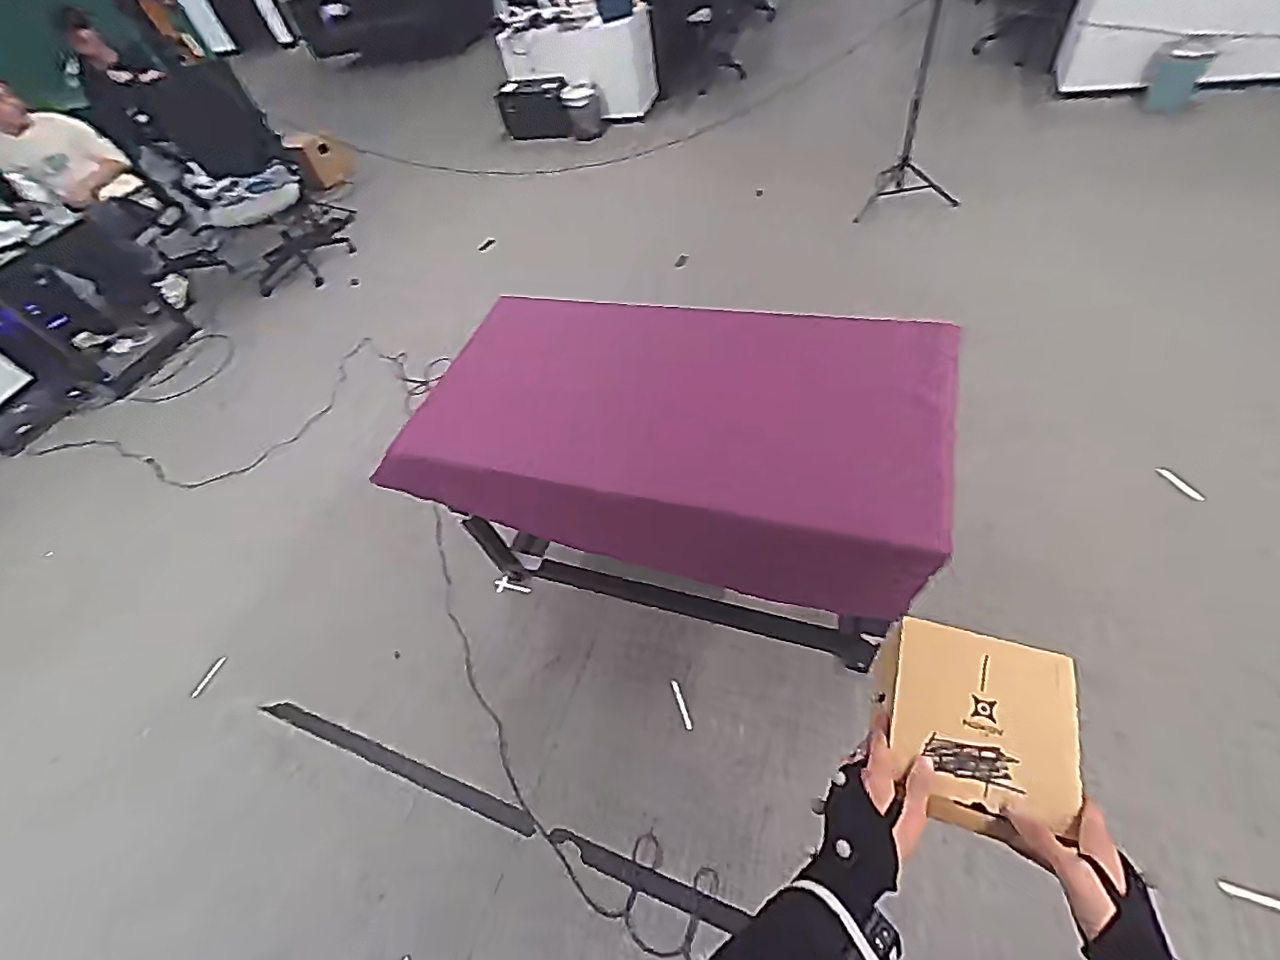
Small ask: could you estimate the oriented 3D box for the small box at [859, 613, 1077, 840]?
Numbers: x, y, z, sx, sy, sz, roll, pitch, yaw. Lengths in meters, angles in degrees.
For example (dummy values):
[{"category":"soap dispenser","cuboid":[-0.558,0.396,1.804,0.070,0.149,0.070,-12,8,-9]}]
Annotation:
[{"category":"small box","cuboid":[0.349,0.277,0.605,0.168,0.176,0.179,11,58,18]}]
